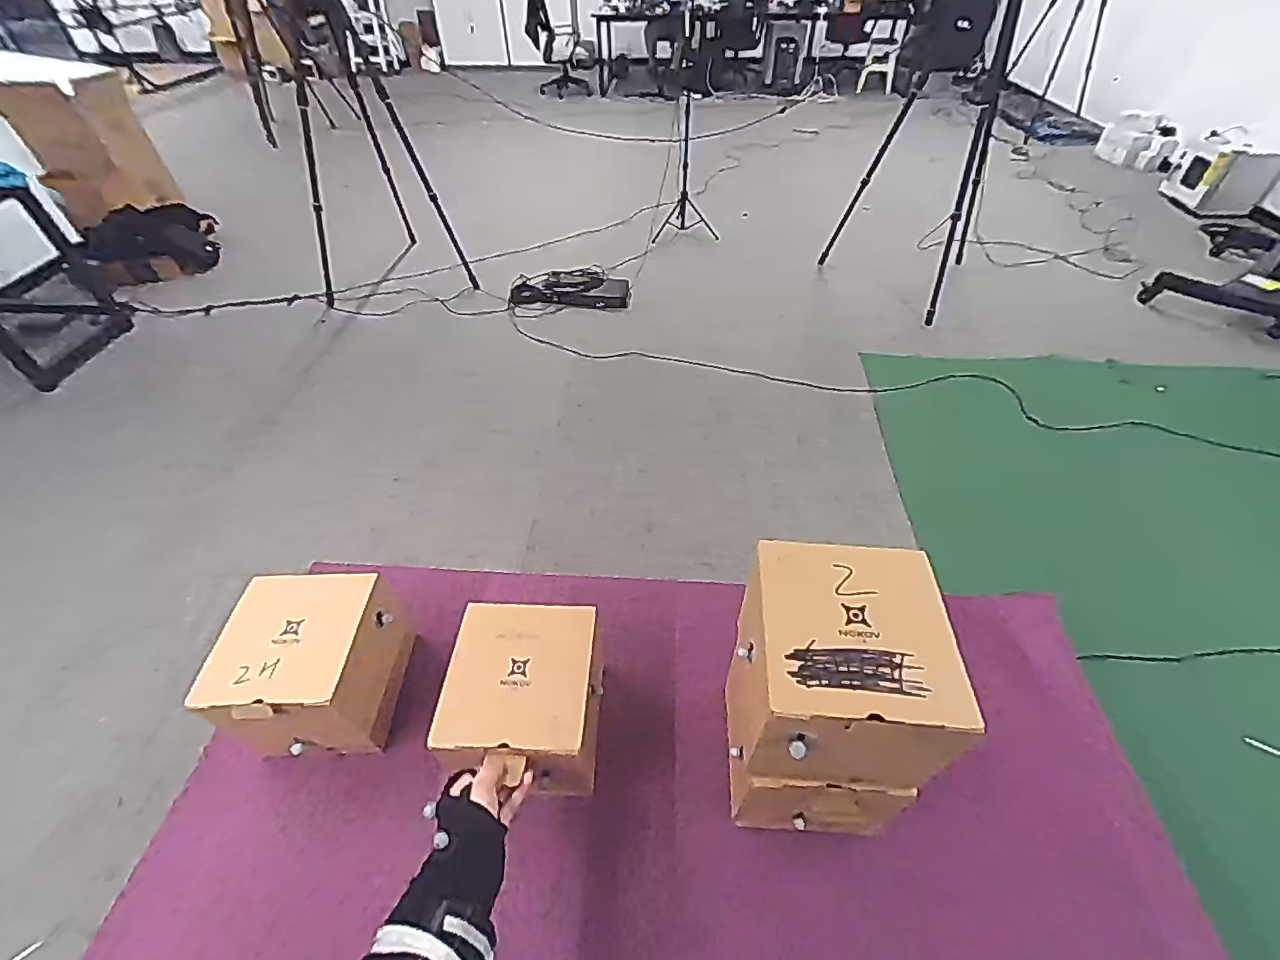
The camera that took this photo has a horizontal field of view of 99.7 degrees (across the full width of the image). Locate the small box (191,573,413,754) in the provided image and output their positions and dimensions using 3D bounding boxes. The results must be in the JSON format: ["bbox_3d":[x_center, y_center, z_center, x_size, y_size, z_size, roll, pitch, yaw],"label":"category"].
[{"bbox_3d":[-0.422,0.243,0.718,0.168,0.176,0.179,-2,47,0],"label":"small box"}]

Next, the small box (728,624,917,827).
[{"bbox_3d":[0.200,0.296,0.654,0.168,0.176,0.179,1,47,3],"label":"small box"}]

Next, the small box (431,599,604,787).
[{"bbox_3d":[-0.137,0.272,0.686,0.168,0.176,0.179,2,46,2],"label":"small box"}]
